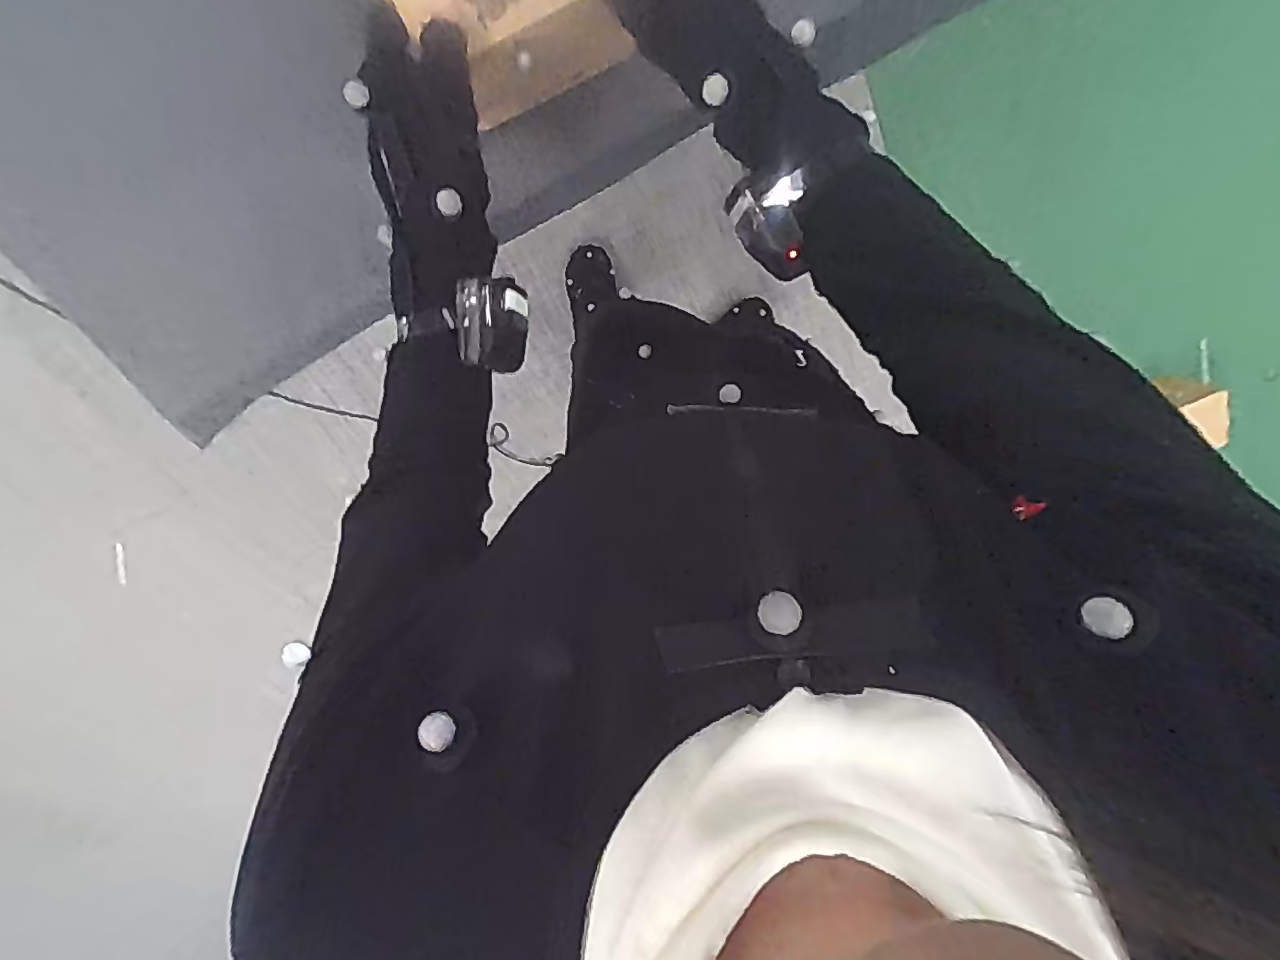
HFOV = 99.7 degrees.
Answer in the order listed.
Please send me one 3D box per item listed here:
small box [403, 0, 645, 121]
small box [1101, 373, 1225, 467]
[{"bbox_3d":[-0.104,-0.415,0.410,0.168,0.176,0.179,-23,112,6],"label":"small box"},{"bbox_3d":[1.399,-0.167,1.453,0.179,0.176,0.168,-24,113,8],"label":"small box"}]
